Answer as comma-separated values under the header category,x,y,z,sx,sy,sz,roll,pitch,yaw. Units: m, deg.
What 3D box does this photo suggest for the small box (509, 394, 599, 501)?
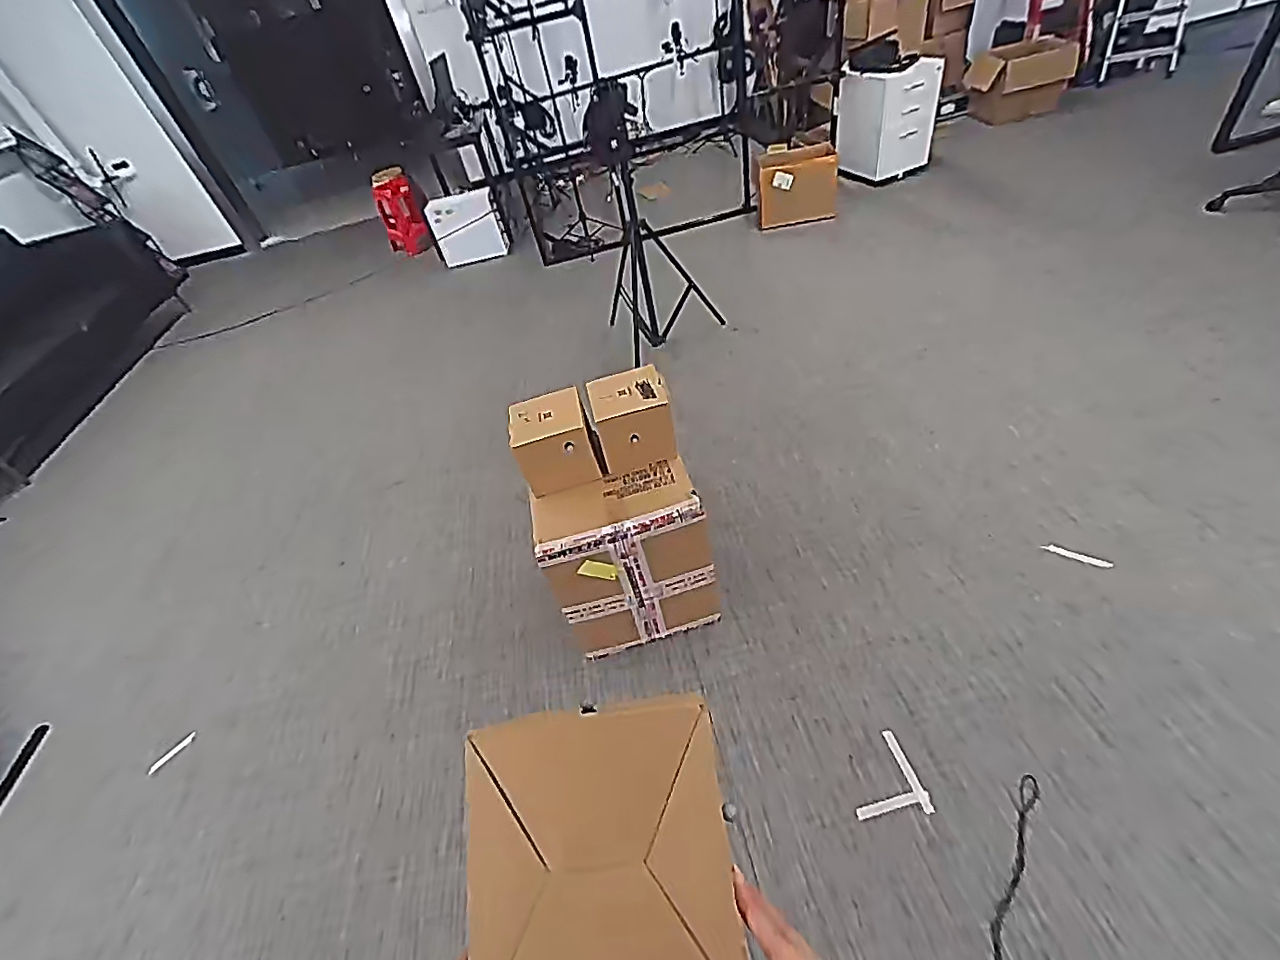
category,x,y,z,sx,sy,sz,roll,pitch,yaw
small box,-0.206,-0.077,1.321,0.179,0.176,0.168,-17,44,1

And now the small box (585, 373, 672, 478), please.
category,x,y,z,sx,sy,sz,roll,pitch,yaw
small box,-0.024,-0.132,1.329,0.179,0.176,0.168,-15,44,-2
